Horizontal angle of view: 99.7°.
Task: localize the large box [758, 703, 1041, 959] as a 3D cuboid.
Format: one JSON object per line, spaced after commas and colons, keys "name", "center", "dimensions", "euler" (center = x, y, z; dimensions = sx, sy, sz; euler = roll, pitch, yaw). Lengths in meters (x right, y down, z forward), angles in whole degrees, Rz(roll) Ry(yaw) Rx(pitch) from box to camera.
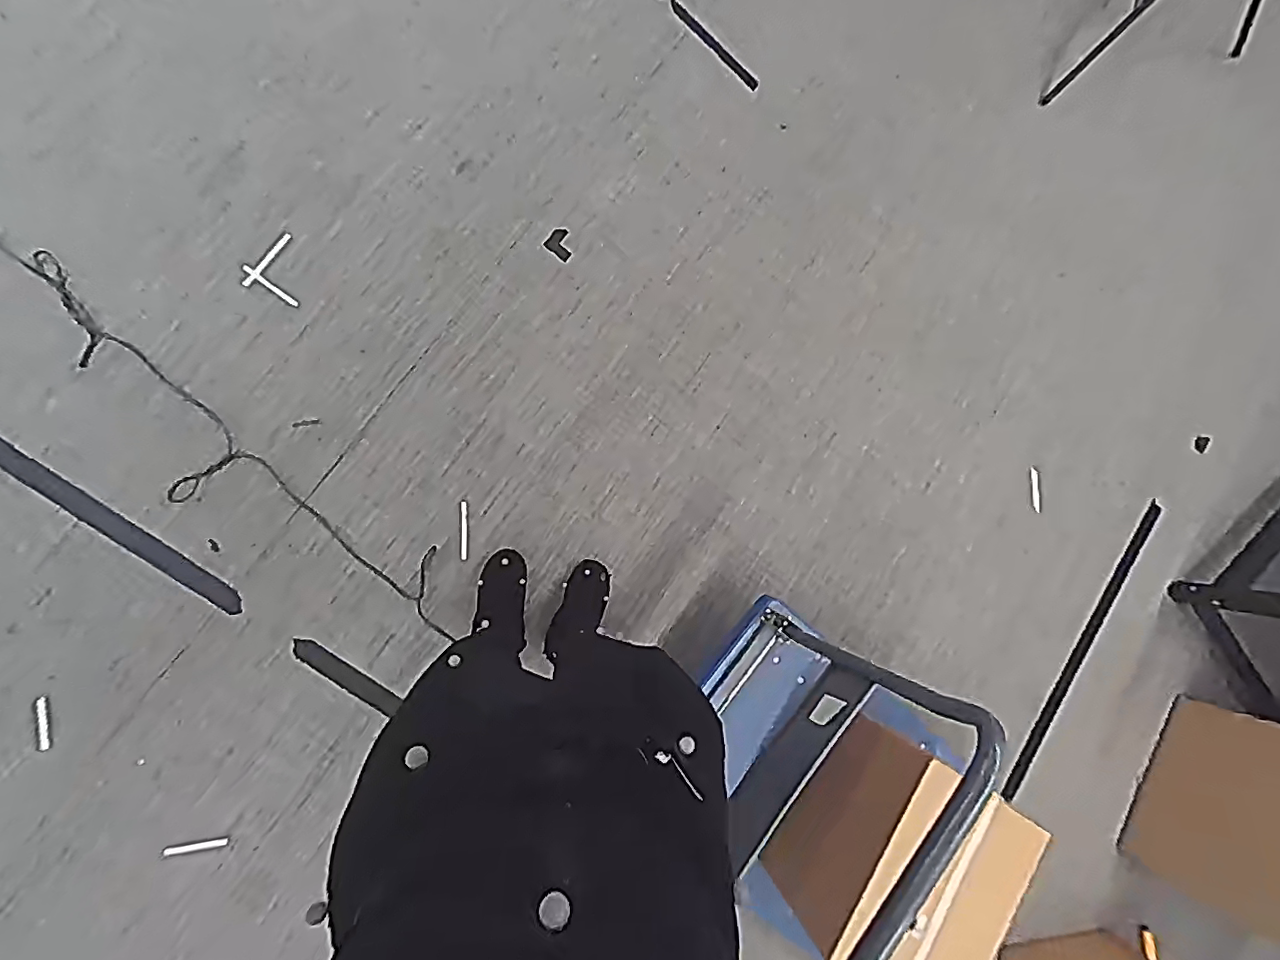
{"name": "large box", "center": [0.520, 0.766, 1.136], "dimensions": [0.320, 0.320, 0.408], "euler": [34, 82, -8]}
